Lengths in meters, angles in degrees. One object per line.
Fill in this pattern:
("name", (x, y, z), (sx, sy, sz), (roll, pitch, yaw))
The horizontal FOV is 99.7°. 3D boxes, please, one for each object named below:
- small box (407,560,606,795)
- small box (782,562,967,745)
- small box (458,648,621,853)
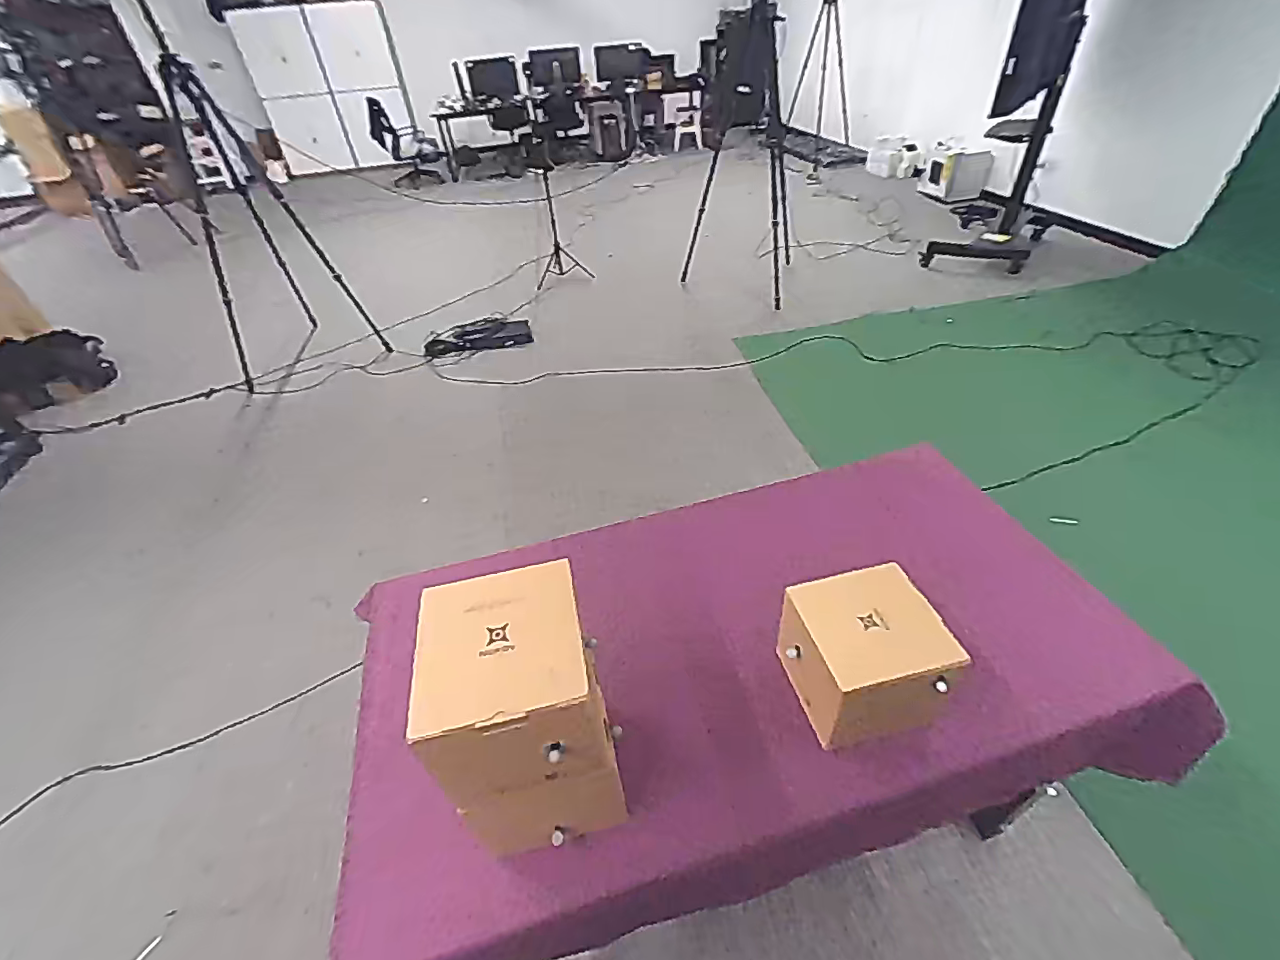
("small box", (-0.137, 0.222, 0.599), (0.168, 0.176, 0.179), (-11, 40, -6))
("small box", (0.312, 0.247, 0.767), (0.179, 0.176, 0.168), (-11, 41, -7))
("small box", (-0.124, 0.349, 0.702), (0.179, 0.176, 0.168), (-12, 41, -8))
